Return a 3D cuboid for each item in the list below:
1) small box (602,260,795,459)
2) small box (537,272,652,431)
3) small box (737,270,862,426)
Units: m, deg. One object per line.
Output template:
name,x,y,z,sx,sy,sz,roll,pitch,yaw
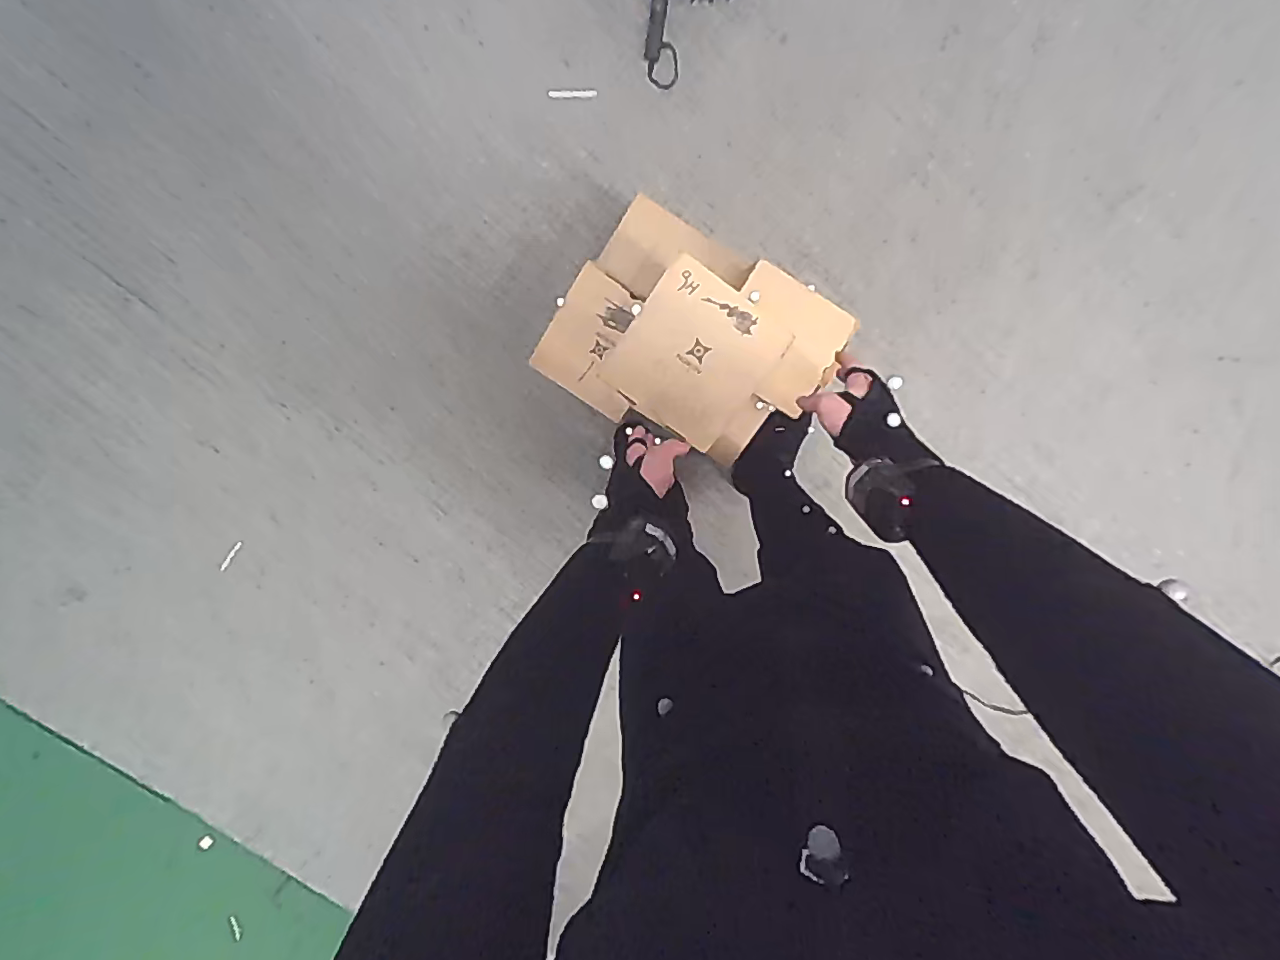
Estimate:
small box,0.074,-0.159,0.713,0.168,0.176,0.179,35,106,-6
small box,-0.039,-0.211,0.877,0.168,0.176,0.179,34,107,-6
small box,0.211,-0.208,0.865,0.179,0.176,0.168,30,102,-4
